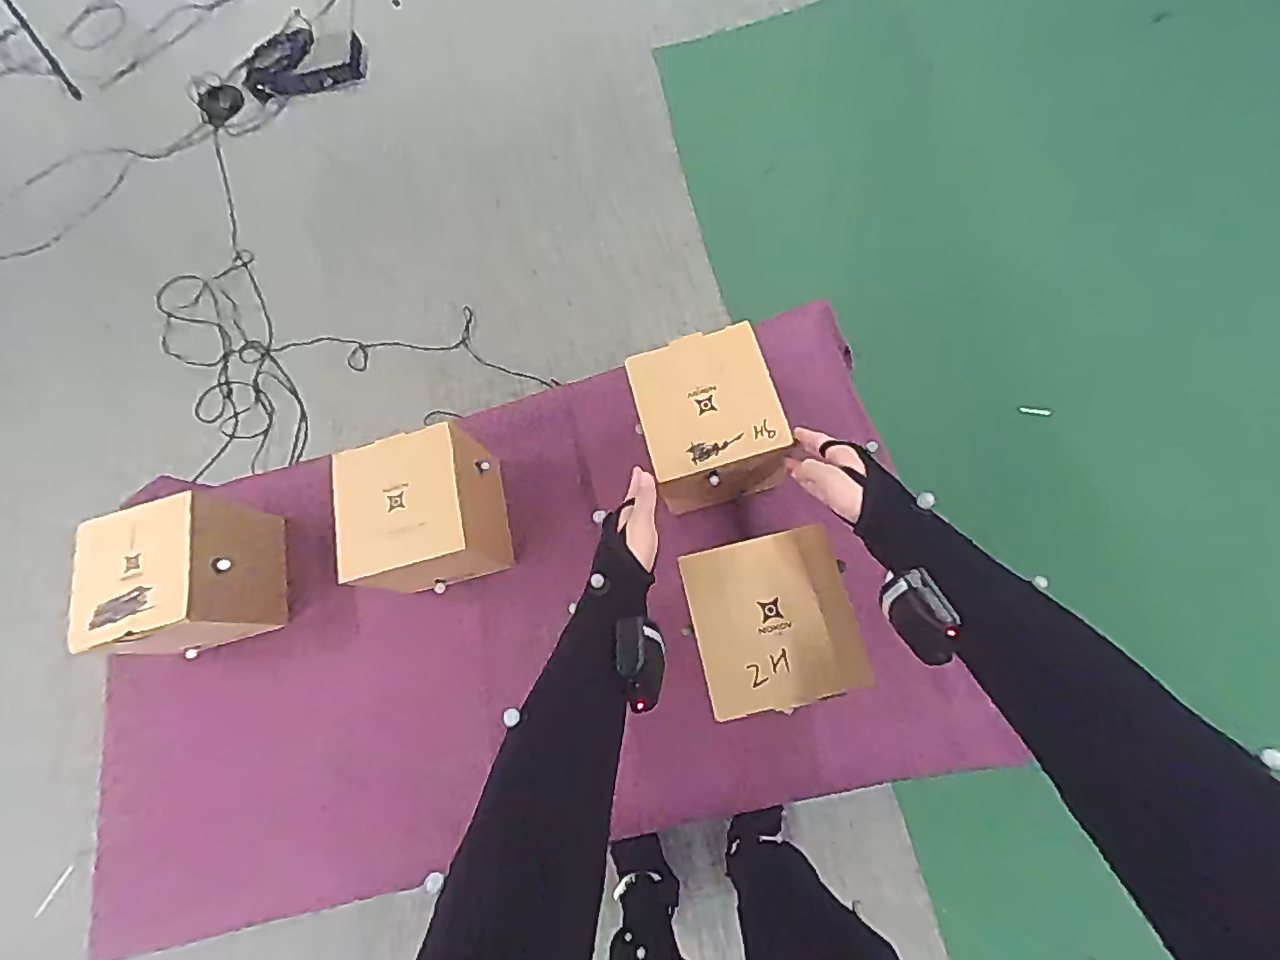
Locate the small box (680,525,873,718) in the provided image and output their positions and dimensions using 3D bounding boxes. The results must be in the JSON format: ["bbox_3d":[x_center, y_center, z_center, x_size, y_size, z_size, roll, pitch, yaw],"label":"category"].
[{"bbox_3d":[0.149,0.170,0.641,0.168,0.176,0.179,-14,70,6],"label":"small box"}]

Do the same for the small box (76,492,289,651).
[{"bbox_3d":[-0.637,0.138,0.775,0.168,0.176,0.179,-16,70,3],"label":"small box"}]

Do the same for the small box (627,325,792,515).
[{"bbox_3d":[0.092,-0.071,0.729,0.168,0.176,0.179,-16,70,5],"label":"small box"}]

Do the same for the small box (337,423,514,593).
[{"bbox_3d":[-0.291,0.048,0.753,0.168,0.176,0.179,-15,72,5],"label":"small box"}]
